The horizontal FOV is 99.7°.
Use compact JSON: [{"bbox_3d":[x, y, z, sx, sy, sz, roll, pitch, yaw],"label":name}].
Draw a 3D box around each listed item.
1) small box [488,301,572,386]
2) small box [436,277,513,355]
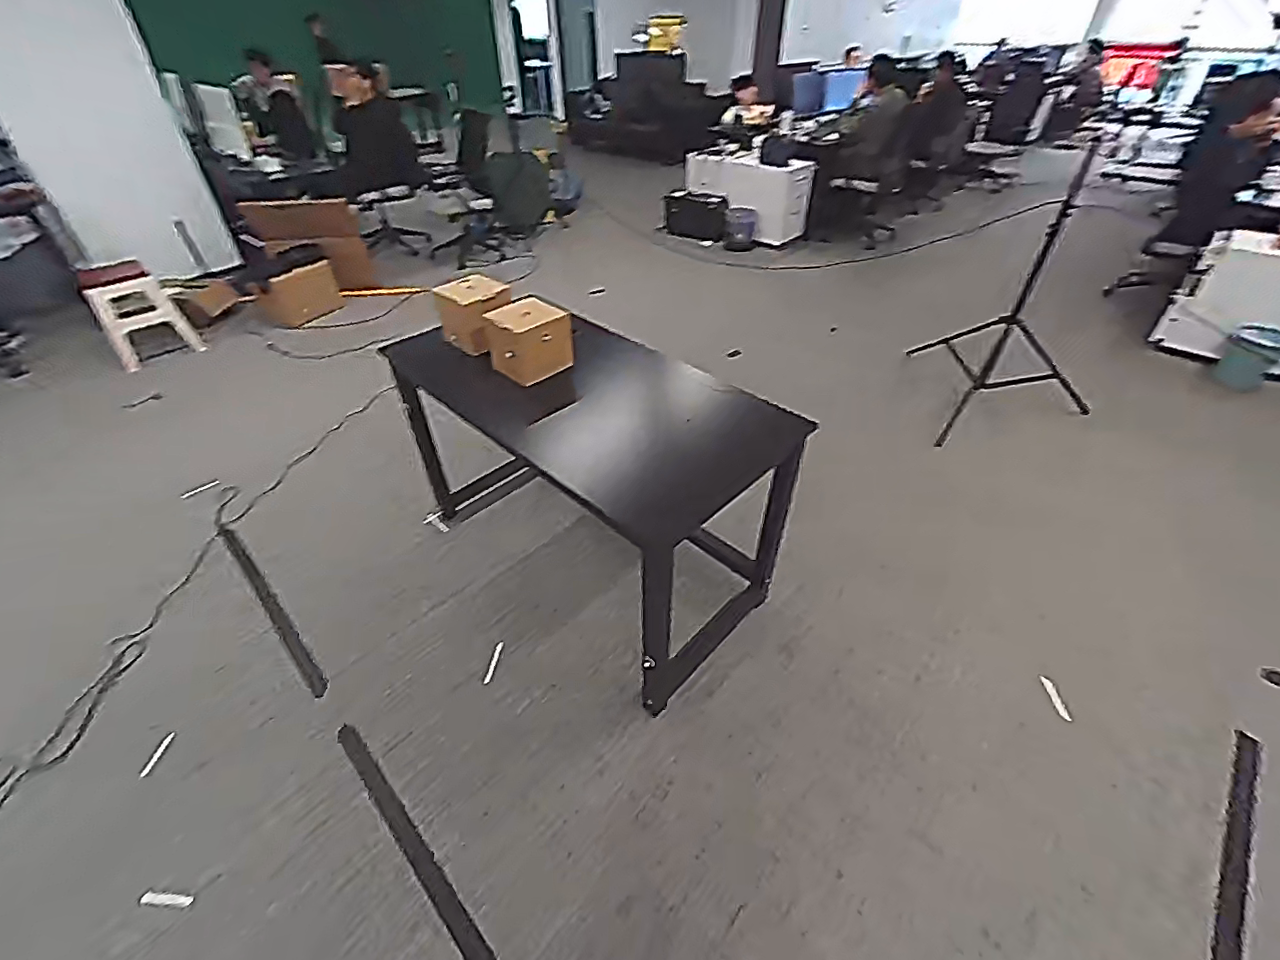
[{"bbox_3d":[-0.308,-0.392,1.557,0.168,0.176,0.179,33,49,31],"label":"small box"},{"bbox_3d":[-0.503,-0.508,1.689,0.179,0.176,0.168,31,49,30],"label":"small box"}]
